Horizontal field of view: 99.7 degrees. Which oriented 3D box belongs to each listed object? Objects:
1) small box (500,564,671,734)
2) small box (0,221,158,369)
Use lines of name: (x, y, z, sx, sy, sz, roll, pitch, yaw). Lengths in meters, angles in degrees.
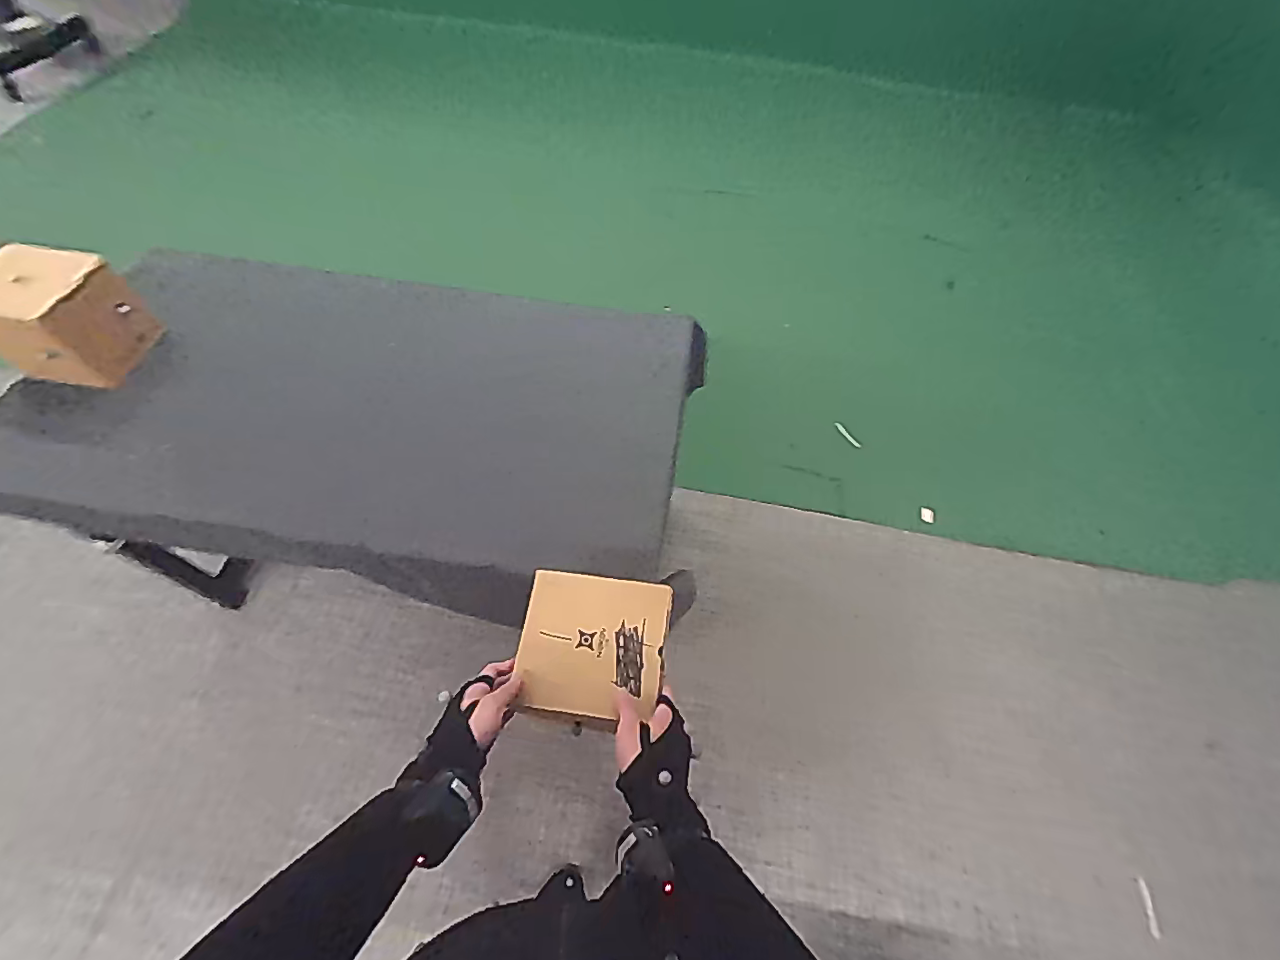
small box: (-0.061, 0.226, 0.704, 0.179, 0.176, 0.168, 8, 59, 3)
small box: (-1.014, -0.316, 0.941, 0.179, 0.176, 0.168, 9, 57, 2)
